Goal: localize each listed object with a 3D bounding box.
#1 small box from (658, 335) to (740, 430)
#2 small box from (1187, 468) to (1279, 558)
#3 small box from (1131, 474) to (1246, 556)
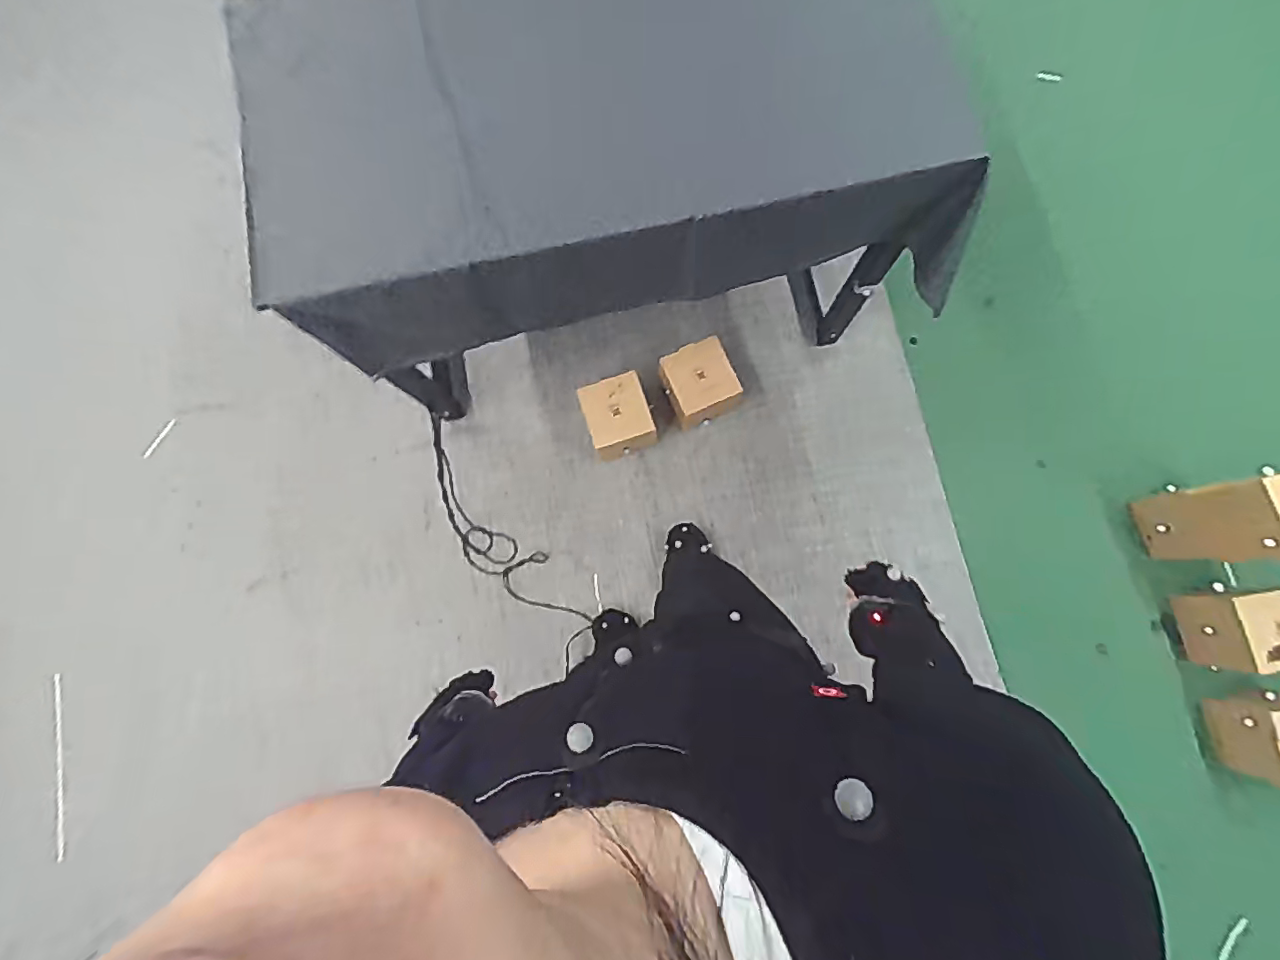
[{"bbox_3d":[0.155,-0.262,1.488,0.168,0.176,0.179,-23,80,-1],"label":"small box"},{"bbox_3d":[1.407,0.072,1.215,0.168,0.176,0.179,-14,80,0],"label":"small box"},{"bbox_3d":[1.413,0.095,1.377,0.179,0.176,0.168,-13,80,1],"label":"small box"}]
